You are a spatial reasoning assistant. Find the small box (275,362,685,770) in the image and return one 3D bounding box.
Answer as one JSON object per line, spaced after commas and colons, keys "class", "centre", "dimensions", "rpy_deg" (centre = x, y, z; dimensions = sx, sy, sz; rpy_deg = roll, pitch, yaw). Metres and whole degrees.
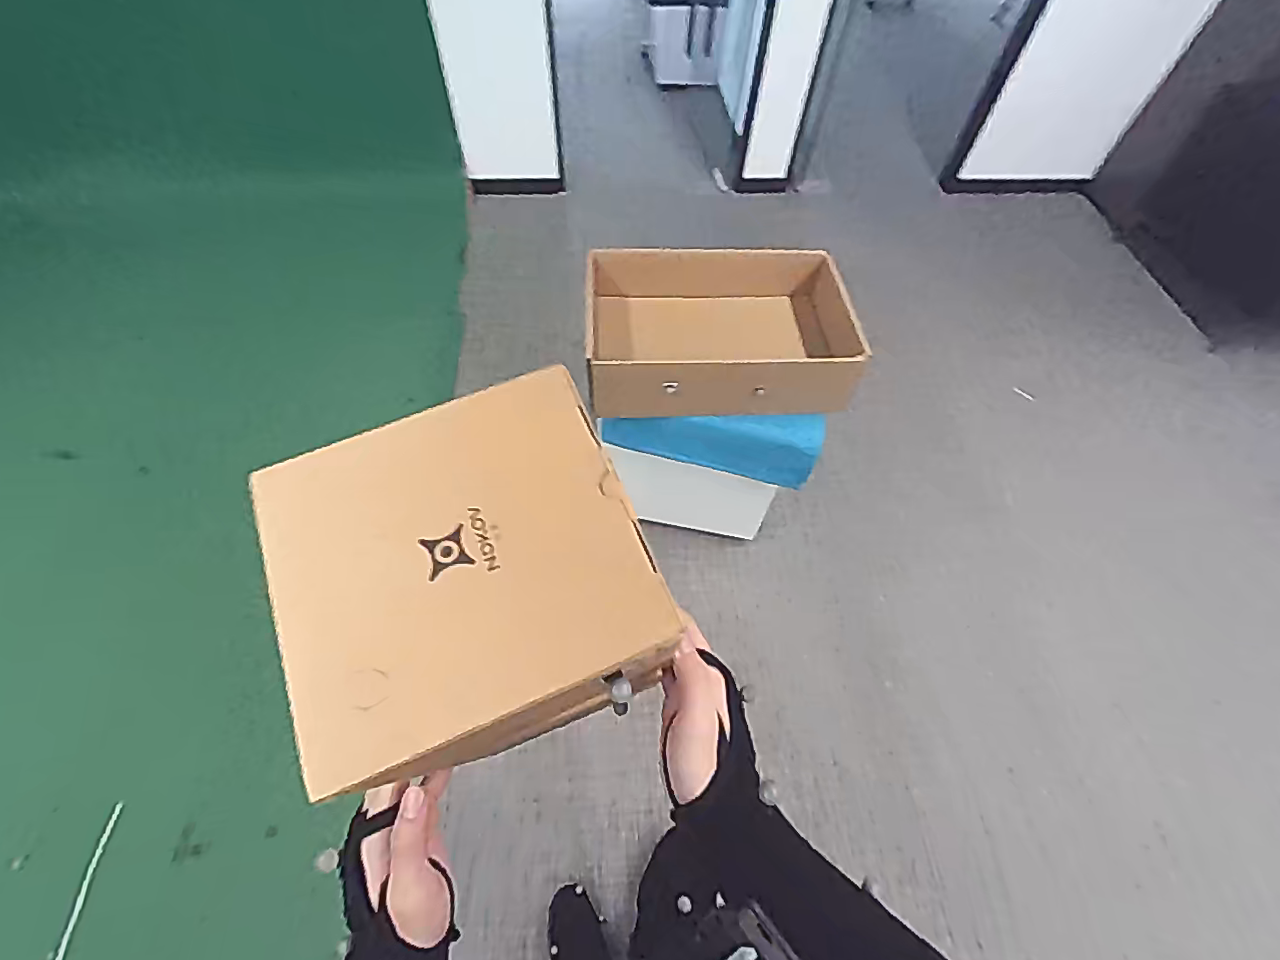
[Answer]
{"class": "small box", "centre": [-0.085, 0.062, 0.341], "dimensions": [0.179, 0.176, 0.168], "rpy_deg": [-20, 67, -10]}
